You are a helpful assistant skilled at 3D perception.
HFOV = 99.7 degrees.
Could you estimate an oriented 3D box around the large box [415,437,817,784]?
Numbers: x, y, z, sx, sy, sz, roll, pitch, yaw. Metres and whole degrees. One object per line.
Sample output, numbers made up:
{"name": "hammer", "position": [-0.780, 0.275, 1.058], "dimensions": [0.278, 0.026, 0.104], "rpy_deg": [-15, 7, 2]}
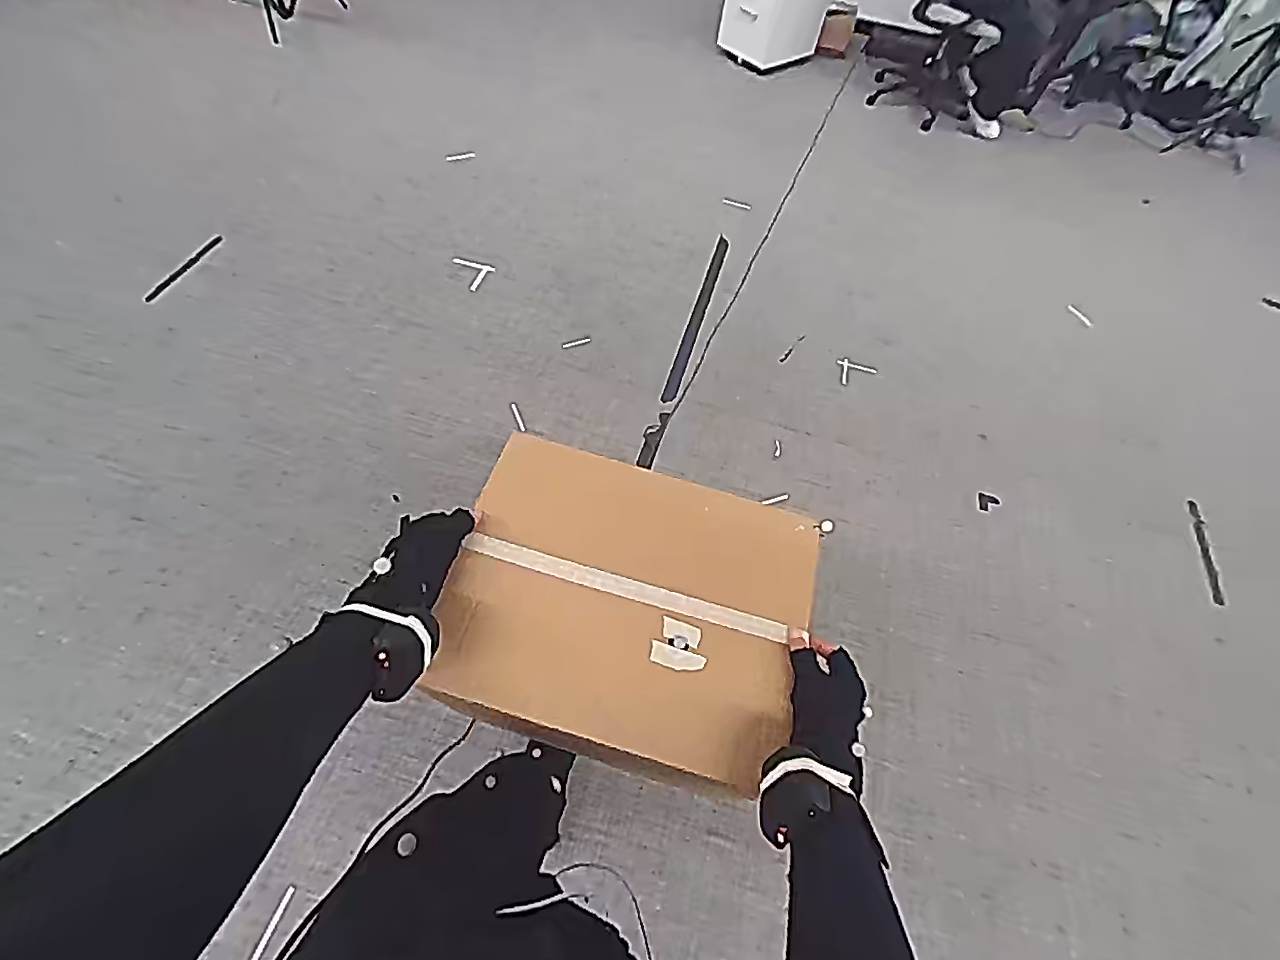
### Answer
{"name": "large box", "position": [-0.020, 0.194, 0.748], "dimensions": [0.408, 0.320, 0.320], "rpy_deg": [17, 61, 3]}
